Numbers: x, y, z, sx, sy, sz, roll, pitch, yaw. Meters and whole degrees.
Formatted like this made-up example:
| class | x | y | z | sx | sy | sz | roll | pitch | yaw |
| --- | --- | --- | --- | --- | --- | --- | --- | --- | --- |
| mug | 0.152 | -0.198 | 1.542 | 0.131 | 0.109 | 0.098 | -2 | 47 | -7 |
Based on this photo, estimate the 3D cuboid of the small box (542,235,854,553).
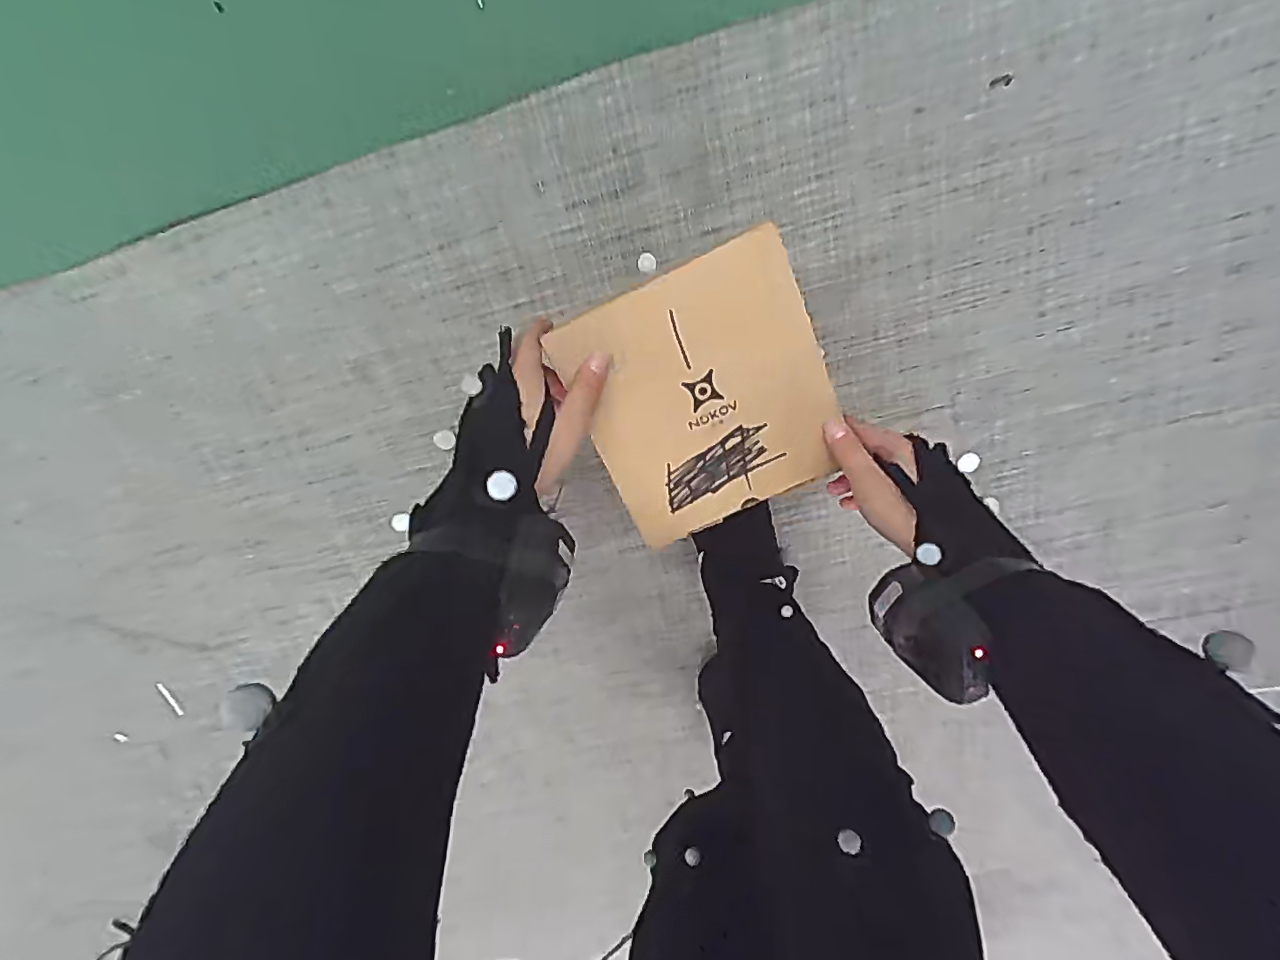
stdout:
| class | x | y | z | sx | sy | sz | roll | pitch | yaw |
| --- | --- | --- | --- | --- | --- | --- | --- | --- | --- |
| small box | 0.044 | -0.076 | 0.442 | 0.168 | 0.176 | 0.179 | -25 | 109 | 8 |
